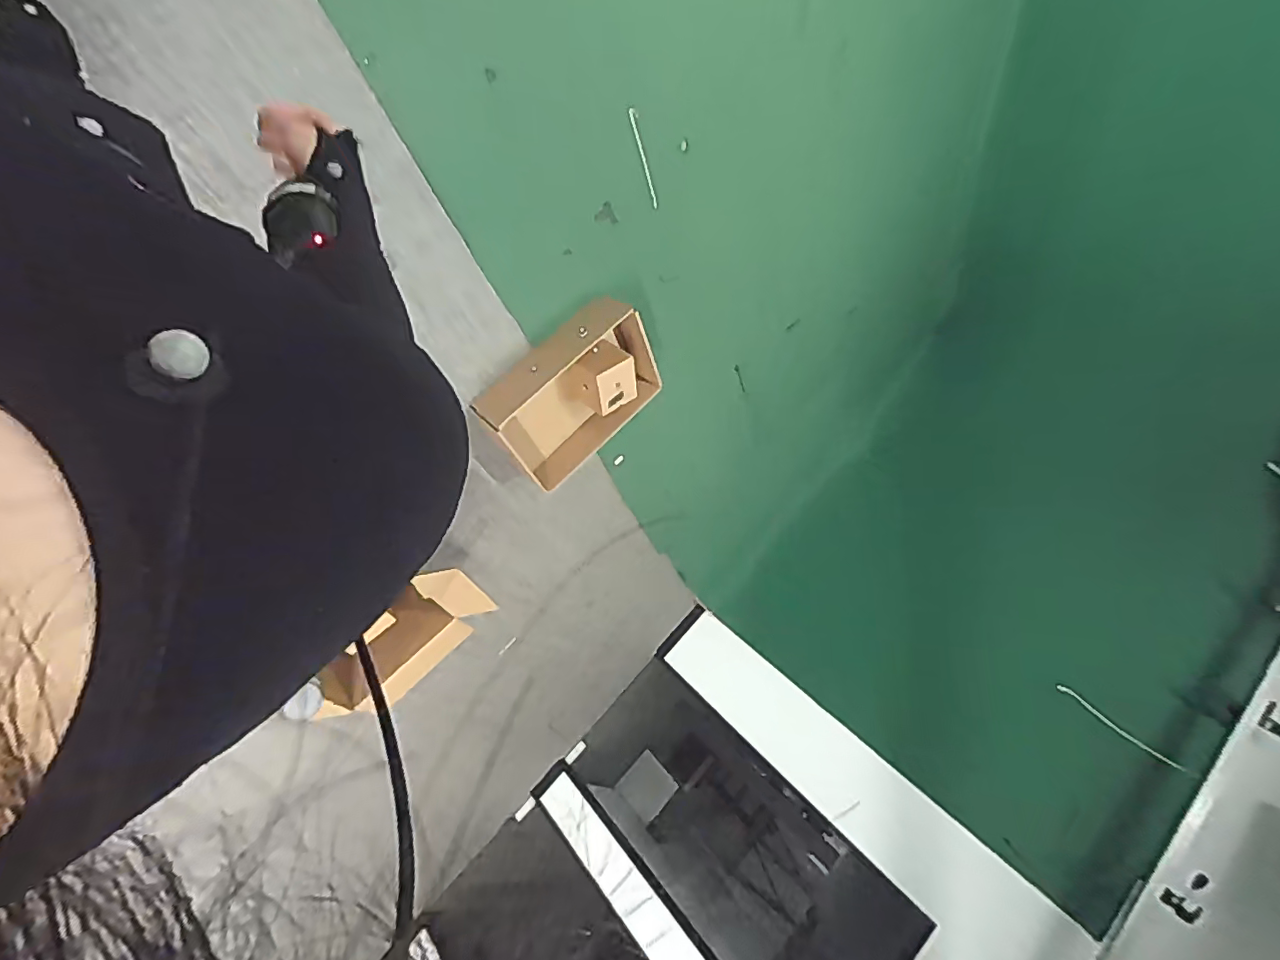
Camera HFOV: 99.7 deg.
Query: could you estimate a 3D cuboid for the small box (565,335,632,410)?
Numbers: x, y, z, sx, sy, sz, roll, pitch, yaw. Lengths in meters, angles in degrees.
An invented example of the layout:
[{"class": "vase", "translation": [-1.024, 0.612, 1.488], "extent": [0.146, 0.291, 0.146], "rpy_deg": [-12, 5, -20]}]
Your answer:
[{"class": "small box", "translation": [-0.146, -0.384, 1.916], "extent": [0.168, 0.176, 0.179], "rpy_deg": [-34, 143, -25]}]
